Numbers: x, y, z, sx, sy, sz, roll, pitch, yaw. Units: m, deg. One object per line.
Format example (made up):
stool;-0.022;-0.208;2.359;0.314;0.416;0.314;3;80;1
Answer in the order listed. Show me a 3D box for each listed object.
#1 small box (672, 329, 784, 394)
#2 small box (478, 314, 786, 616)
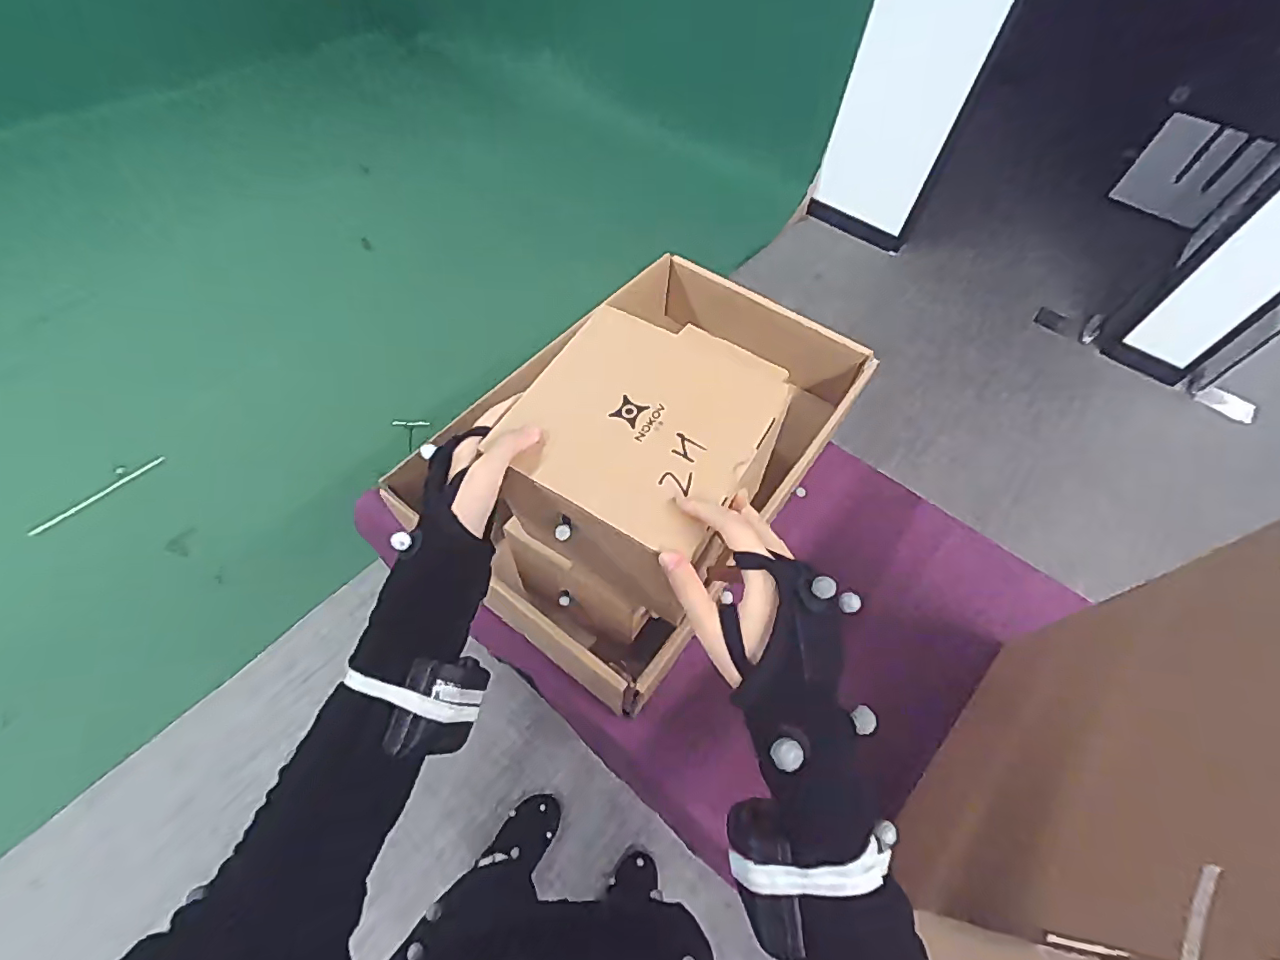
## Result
small box;0.084;-0.081;0.794;0.168;0.176;0.179;31;60;17
small box;-0.003;-0.004;0.472;0.179;0.176;0.168;30;68;16
